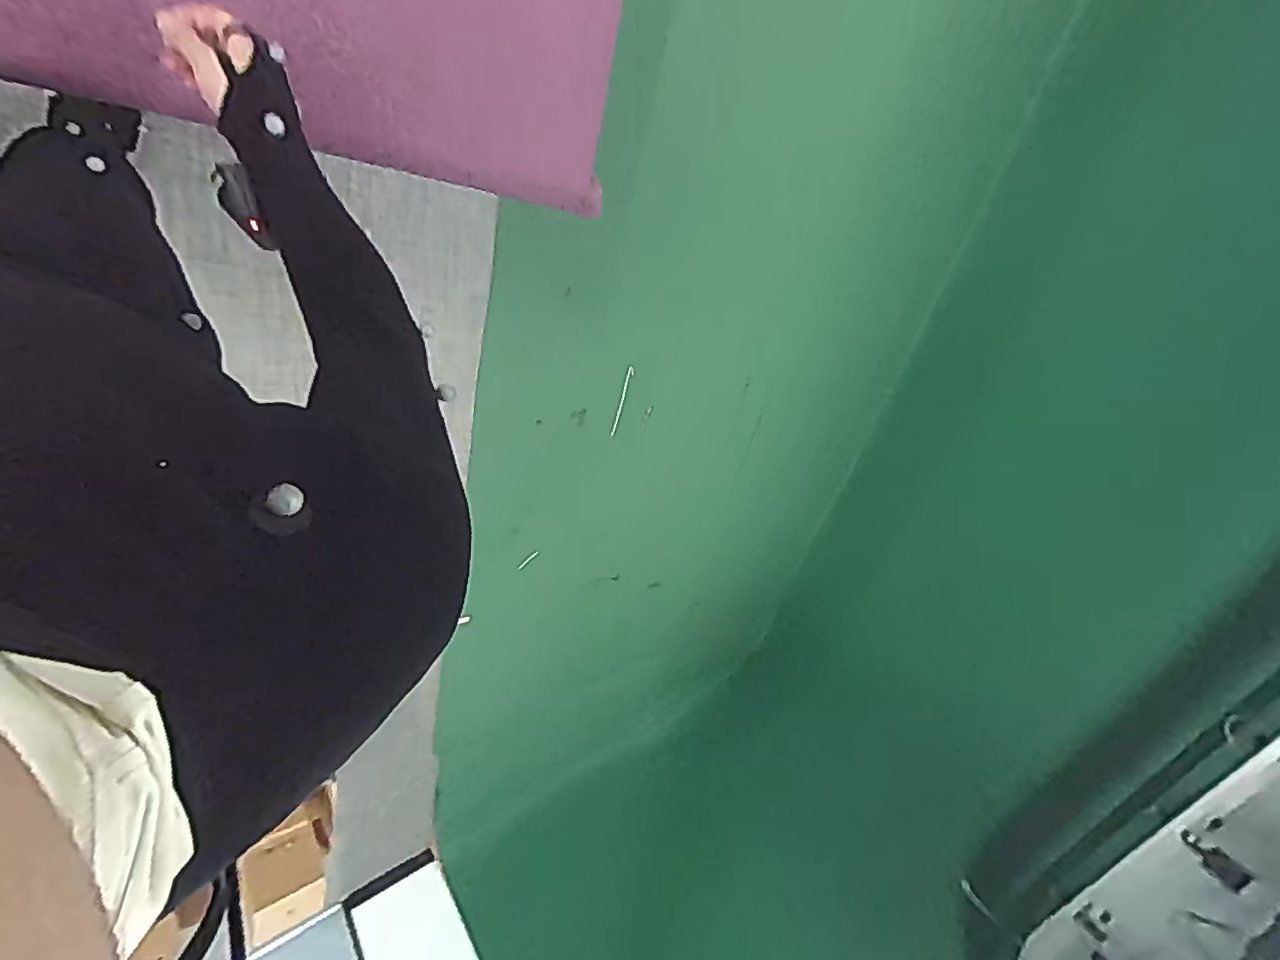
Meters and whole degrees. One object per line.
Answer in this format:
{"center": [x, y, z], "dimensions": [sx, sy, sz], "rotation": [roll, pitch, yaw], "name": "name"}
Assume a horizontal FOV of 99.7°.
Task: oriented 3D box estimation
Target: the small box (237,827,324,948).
{"center": [-0.978, 1.095, 1.468], "dimensions": [0.168, 0.176, 0.179], "rotation": [-7, 126, -44], "name": "small box"}
